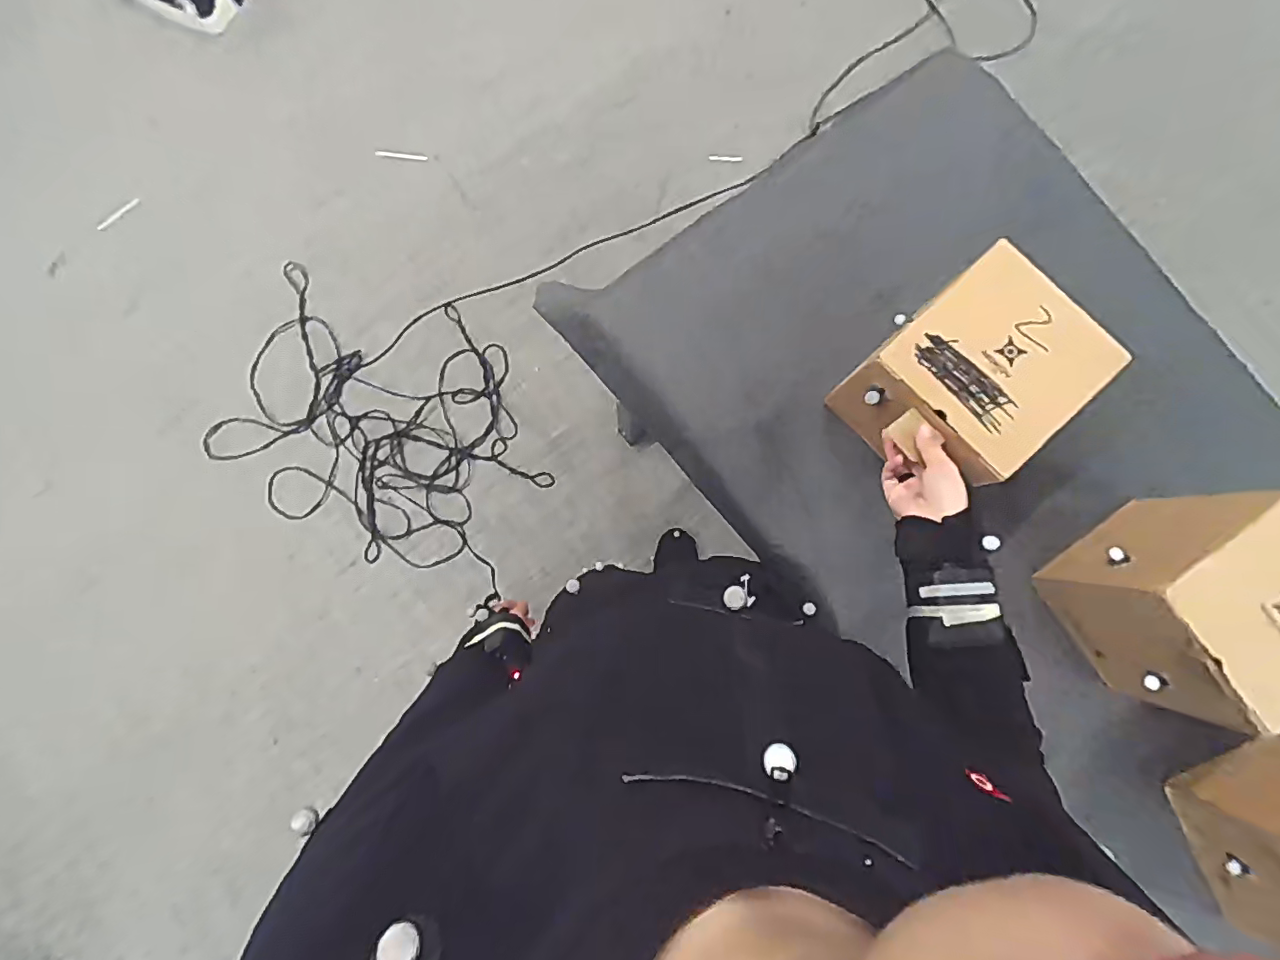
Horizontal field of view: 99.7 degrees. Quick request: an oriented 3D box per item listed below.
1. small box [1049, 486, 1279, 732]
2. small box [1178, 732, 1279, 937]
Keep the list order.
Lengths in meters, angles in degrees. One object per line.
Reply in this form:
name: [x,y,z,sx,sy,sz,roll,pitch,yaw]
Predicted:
small box: [0.597,0.126,0.584,0.179,0.176,0.168,-36,87,-6]
small box: [0.741,0.386,0.559,0.179,0.176,0.168,-23,85,-3]
